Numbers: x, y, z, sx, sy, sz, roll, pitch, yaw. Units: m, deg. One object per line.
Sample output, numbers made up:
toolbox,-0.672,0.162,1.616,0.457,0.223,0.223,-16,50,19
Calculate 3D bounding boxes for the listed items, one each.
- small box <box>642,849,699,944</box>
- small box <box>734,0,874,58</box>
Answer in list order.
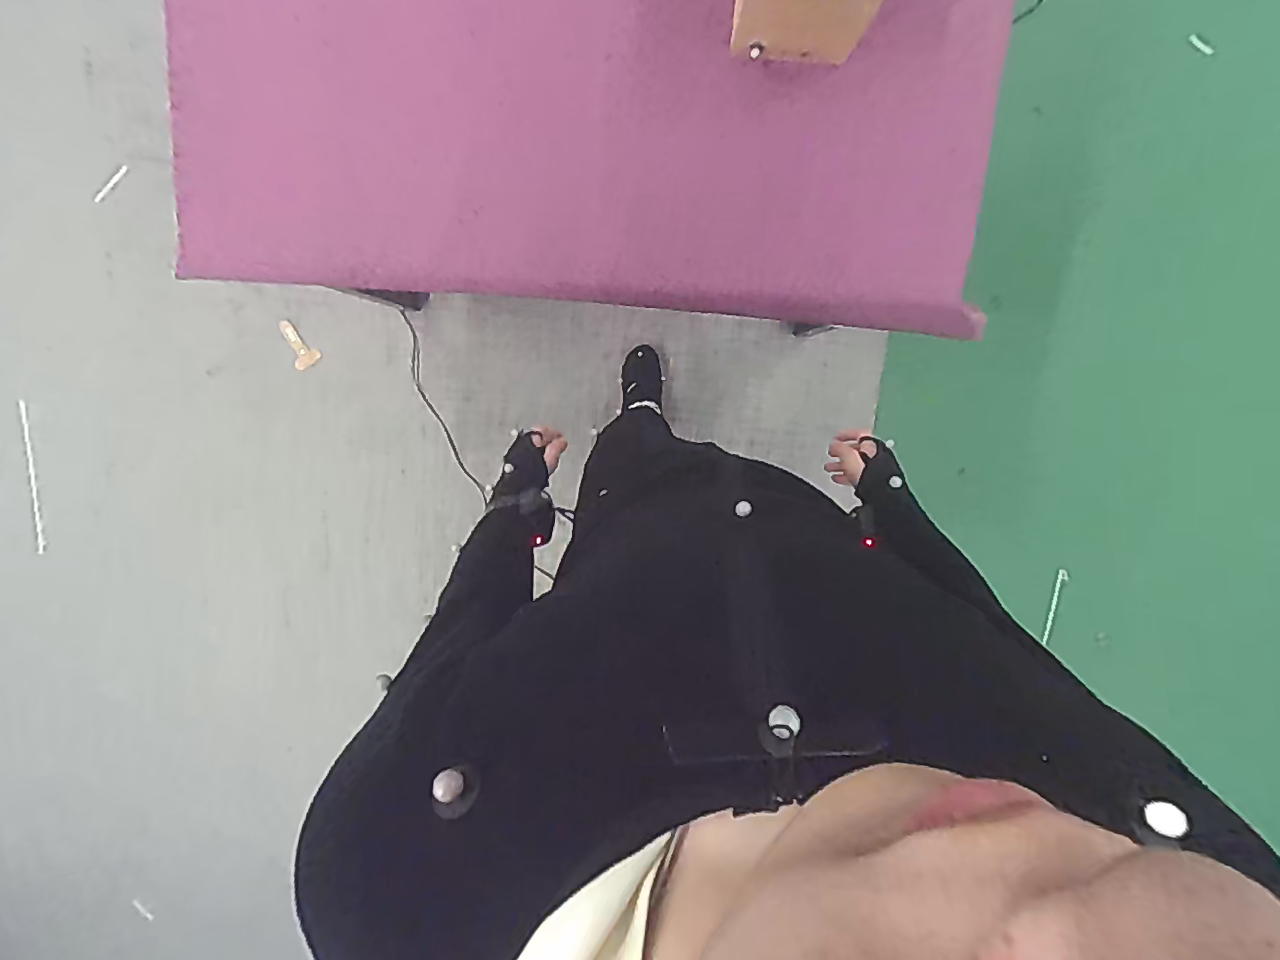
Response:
small box,0.097,1.361,1.770,0.168,0.176,0.179,6,101,-1
small box,0.216,-0.672,0.675,0.168,0.176,0.179,5,99,0
